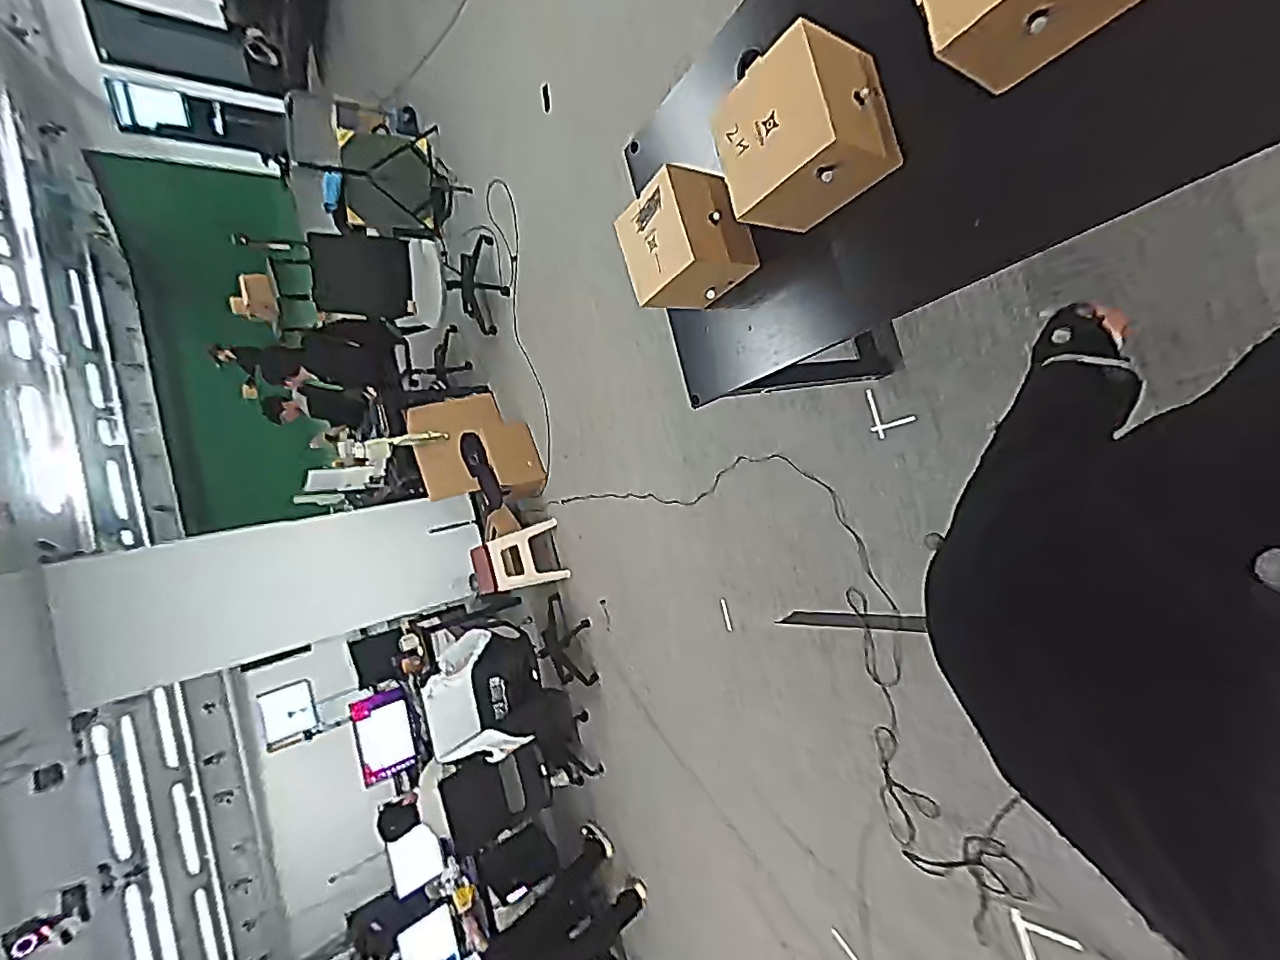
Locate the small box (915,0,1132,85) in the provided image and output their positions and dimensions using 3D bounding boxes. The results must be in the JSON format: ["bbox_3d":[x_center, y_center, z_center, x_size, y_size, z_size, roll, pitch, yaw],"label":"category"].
[{"bbox_3d":[0.399,-0.550,0.546,0.179,0.176,0.168,-16,87,55],"label":"small box"}]

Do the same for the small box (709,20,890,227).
[{"bbox_3d":[0.235,-0.494,0.782,0.179,0.176,0.168,-19,84,54],"label":"small box"}]

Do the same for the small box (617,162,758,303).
[{"bbox_3d":[0.088,-0.442,0.998,0.168,0.176,0.179,-22,83,54],"label":"small box"}]
